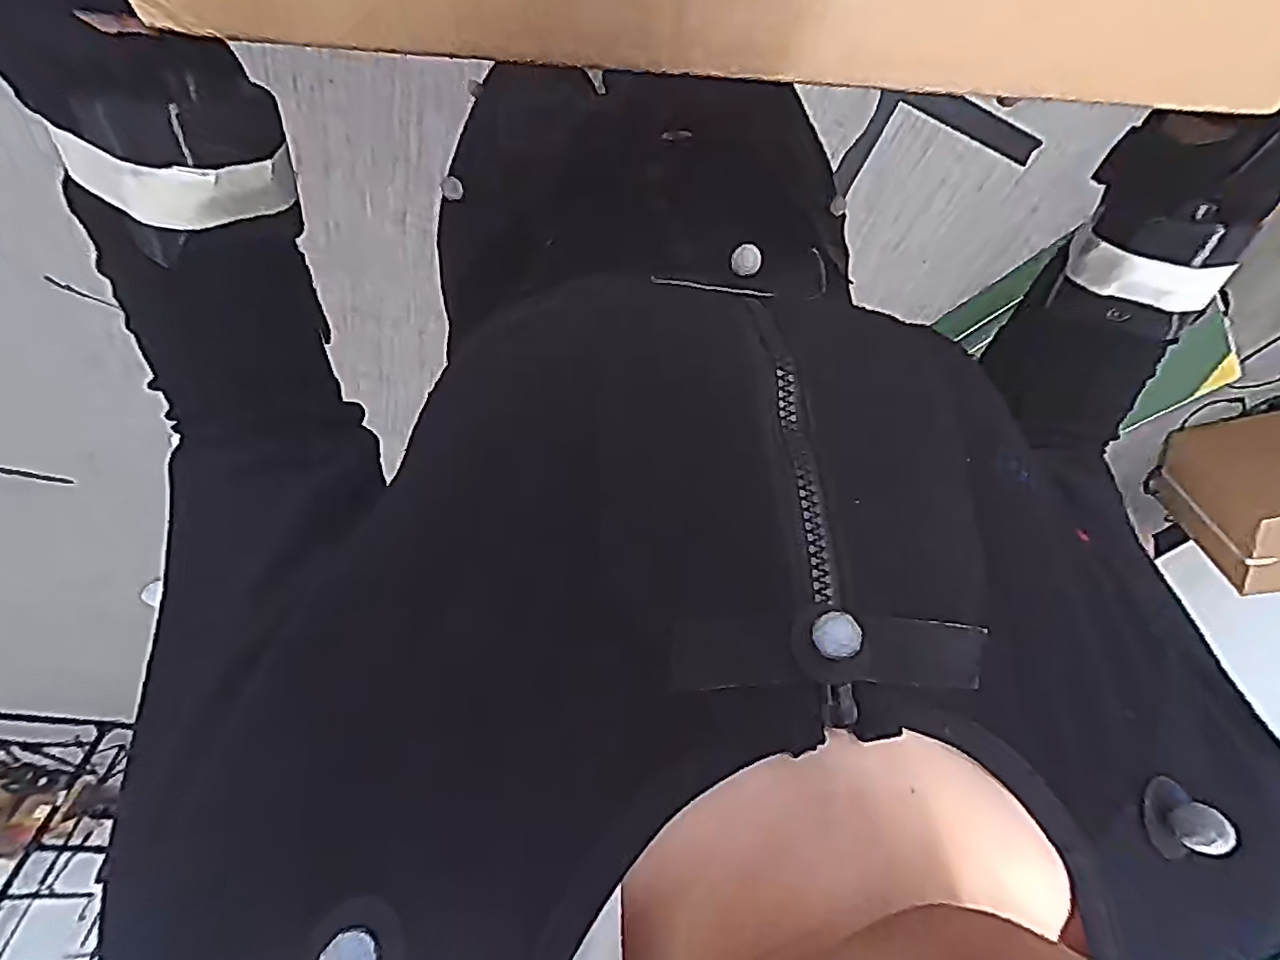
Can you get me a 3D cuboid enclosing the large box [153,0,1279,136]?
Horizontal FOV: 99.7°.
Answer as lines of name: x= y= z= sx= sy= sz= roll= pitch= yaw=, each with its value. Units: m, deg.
large box: x=0.043 y=-0.352 z=0.179 sx=0.408 sy=0.320 sz=0.320 roll=0 pitch=140 yaw=-6
